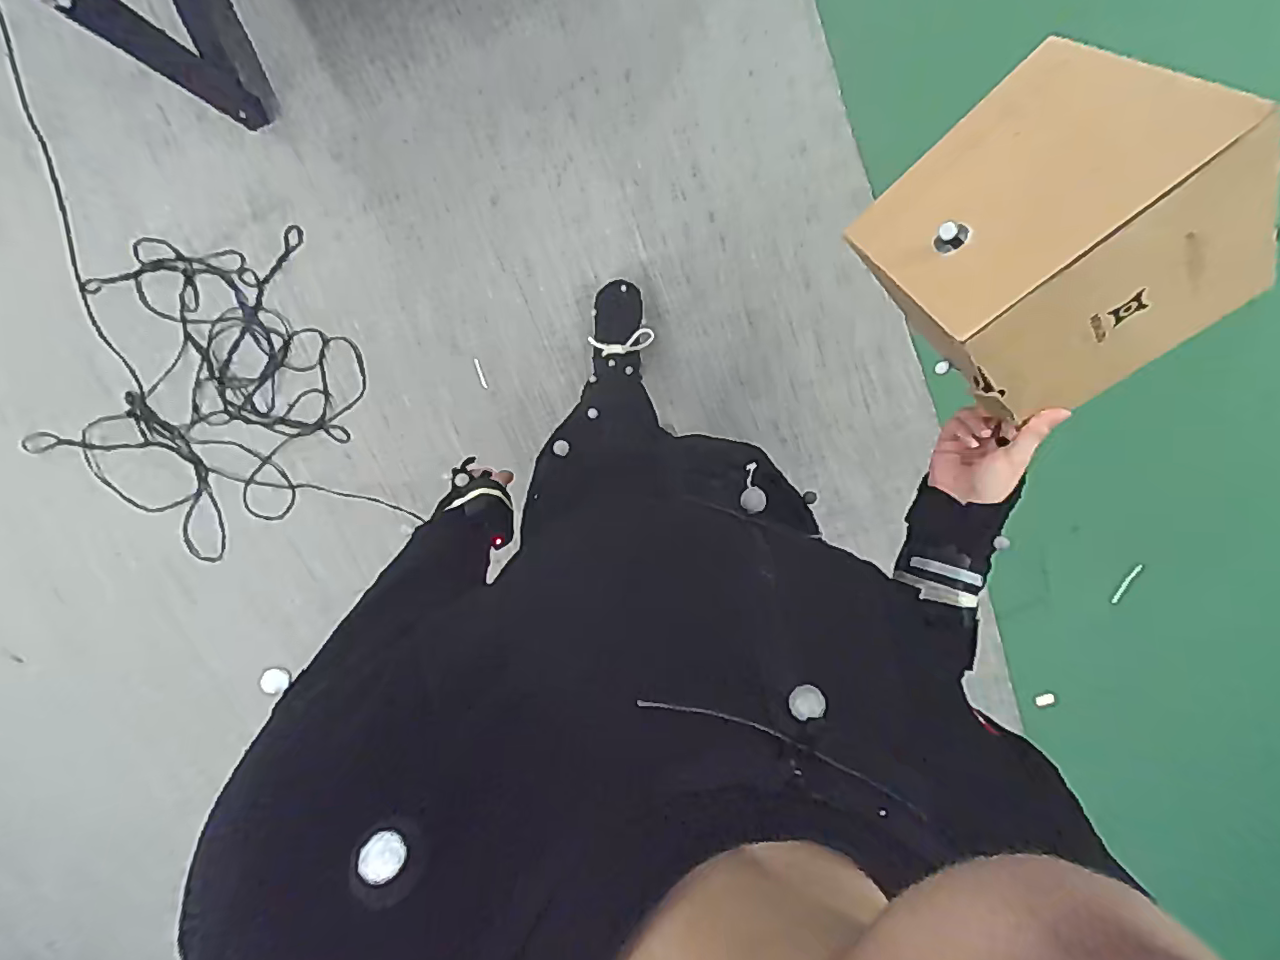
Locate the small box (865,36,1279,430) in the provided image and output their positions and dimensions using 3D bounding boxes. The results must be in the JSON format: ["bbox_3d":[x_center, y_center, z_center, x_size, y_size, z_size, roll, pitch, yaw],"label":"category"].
[{"bbox_3d":[0.301,-0.176,0.408,0.168,0.176,0.179,24,125,-39],"label":"small box"}]
